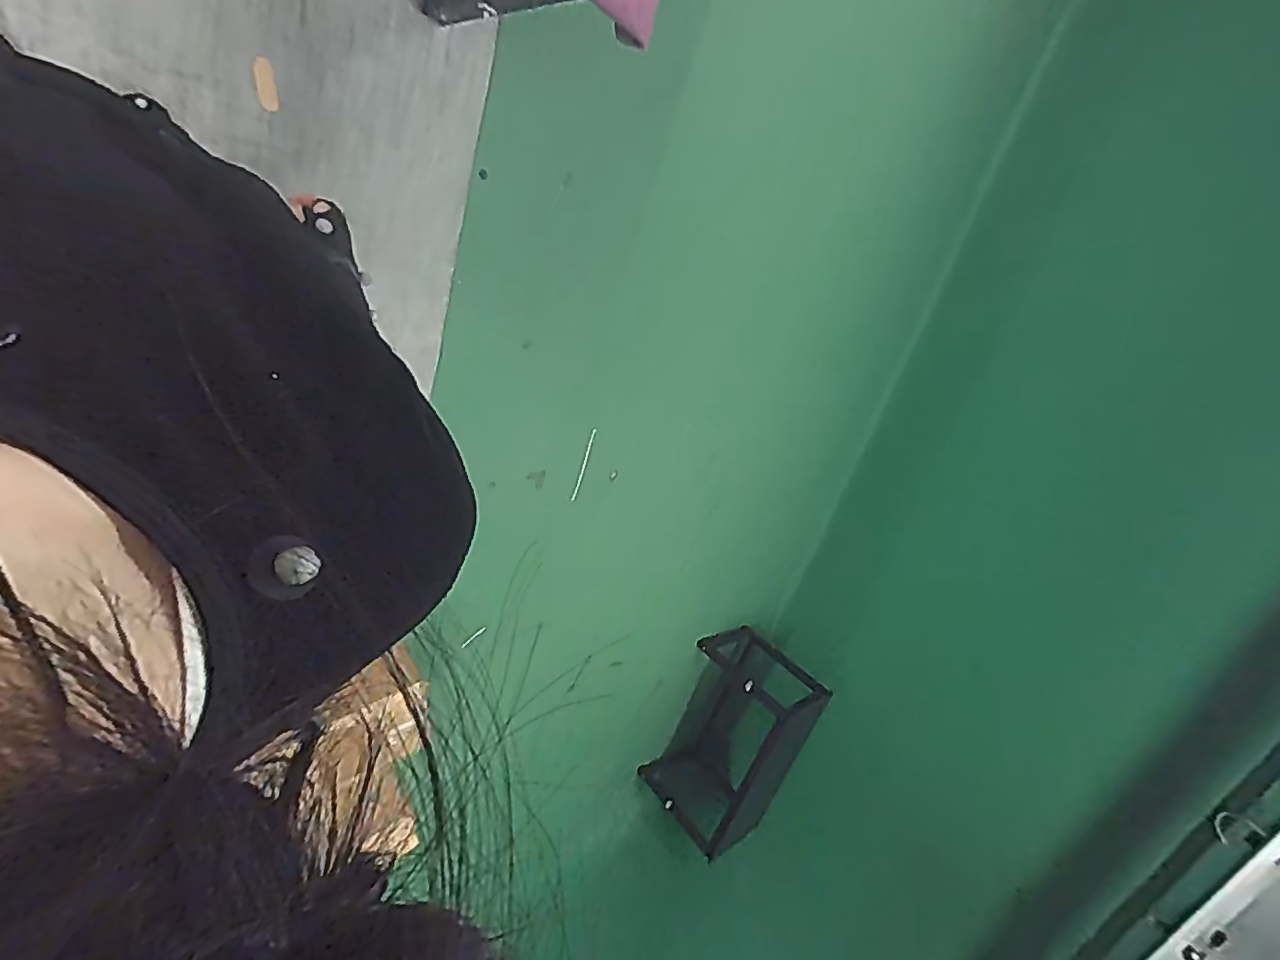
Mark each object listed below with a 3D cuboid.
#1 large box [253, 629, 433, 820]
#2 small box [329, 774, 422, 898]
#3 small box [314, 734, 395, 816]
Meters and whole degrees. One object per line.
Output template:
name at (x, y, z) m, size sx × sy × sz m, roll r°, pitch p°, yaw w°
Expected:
large box at (-0.929, 0.751, 1.716) m, size 0.408 × 0.320 × 0.320 m, roll -19°, pitch 129°, yaw -38°
small box at (-0.699, 0.928, 1.424) m, size 0.179 × 0.176 × 0.168 m, roll -18°, pitch 127°, yaw -37°
small box at (-0.802, 0.855, 1.529) m, size 0.168 × 0.176 × 0.179 m, roll -17°, pitch 127°, yaw -38°
